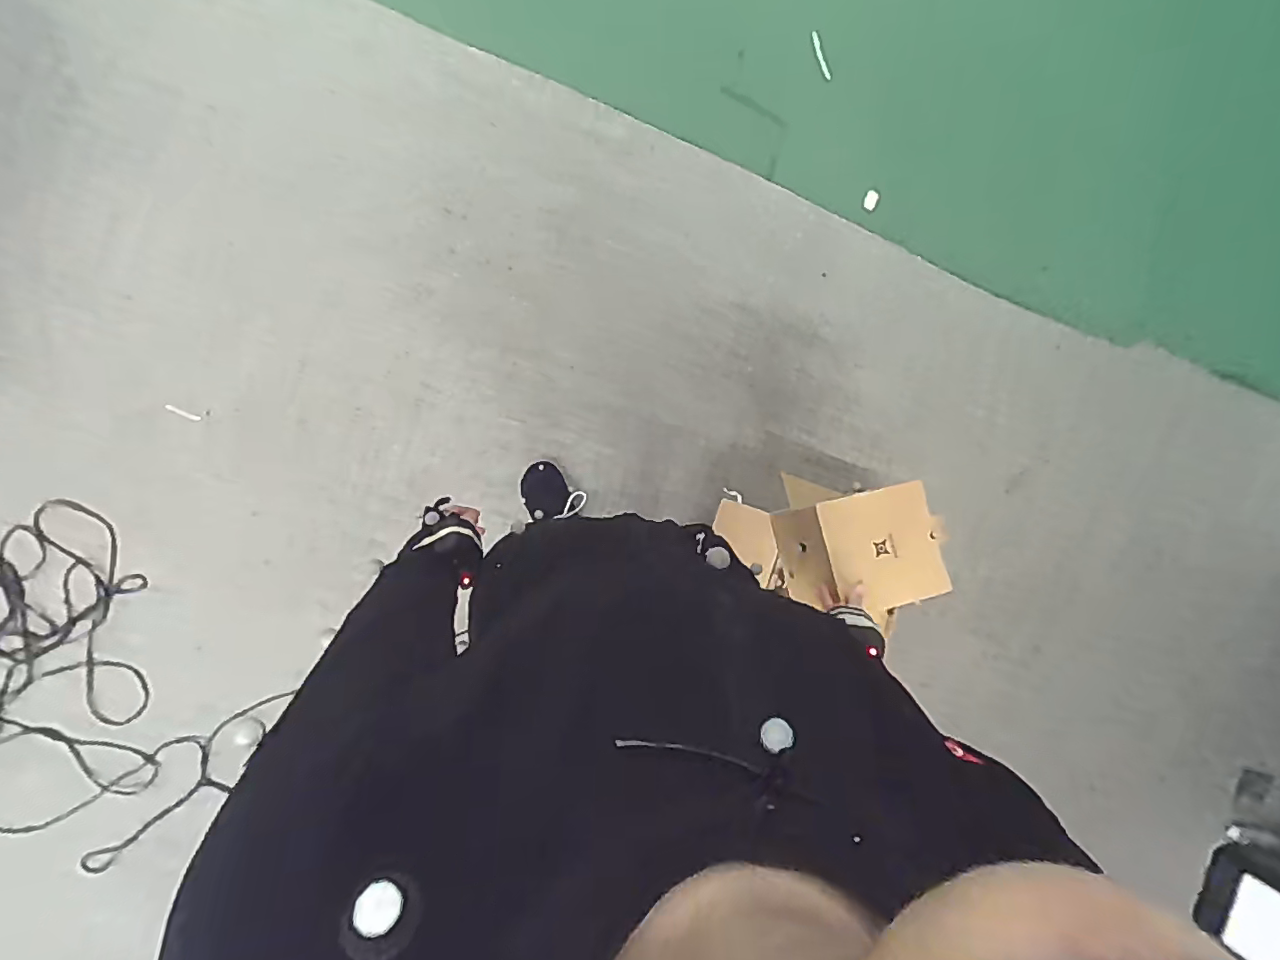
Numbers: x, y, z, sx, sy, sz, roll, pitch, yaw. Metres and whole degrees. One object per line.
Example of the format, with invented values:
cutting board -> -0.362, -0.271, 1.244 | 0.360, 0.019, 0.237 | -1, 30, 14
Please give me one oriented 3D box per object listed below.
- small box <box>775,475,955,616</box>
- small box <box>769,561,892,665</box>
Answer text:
small box -> 0.324, 0.102, 0.822 | 0.179, 0.176, 0.168 | -13, 83, -12
small box -> 0.404, 0.271, 1.163 | 0.179, 0.176, 0.168 | 15, 92, -8
